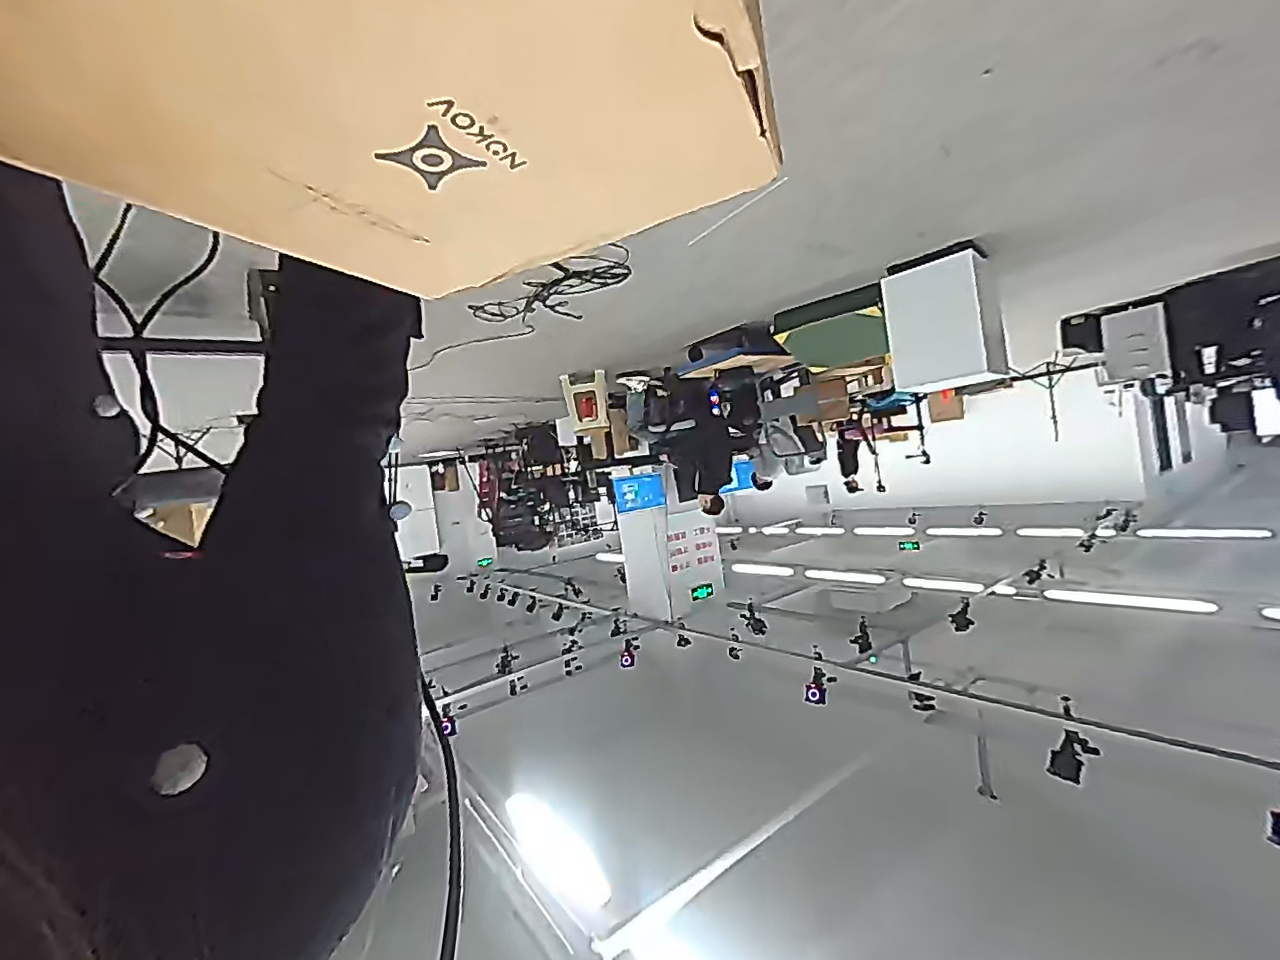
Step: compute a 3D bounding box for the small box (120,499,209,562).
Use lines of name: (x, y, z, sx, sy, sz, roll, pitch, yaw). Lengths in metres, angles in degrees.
small box: (-1.481, 0.152, 1.692, 0.168, 0.176, 0.179, -8, -179, -26)
